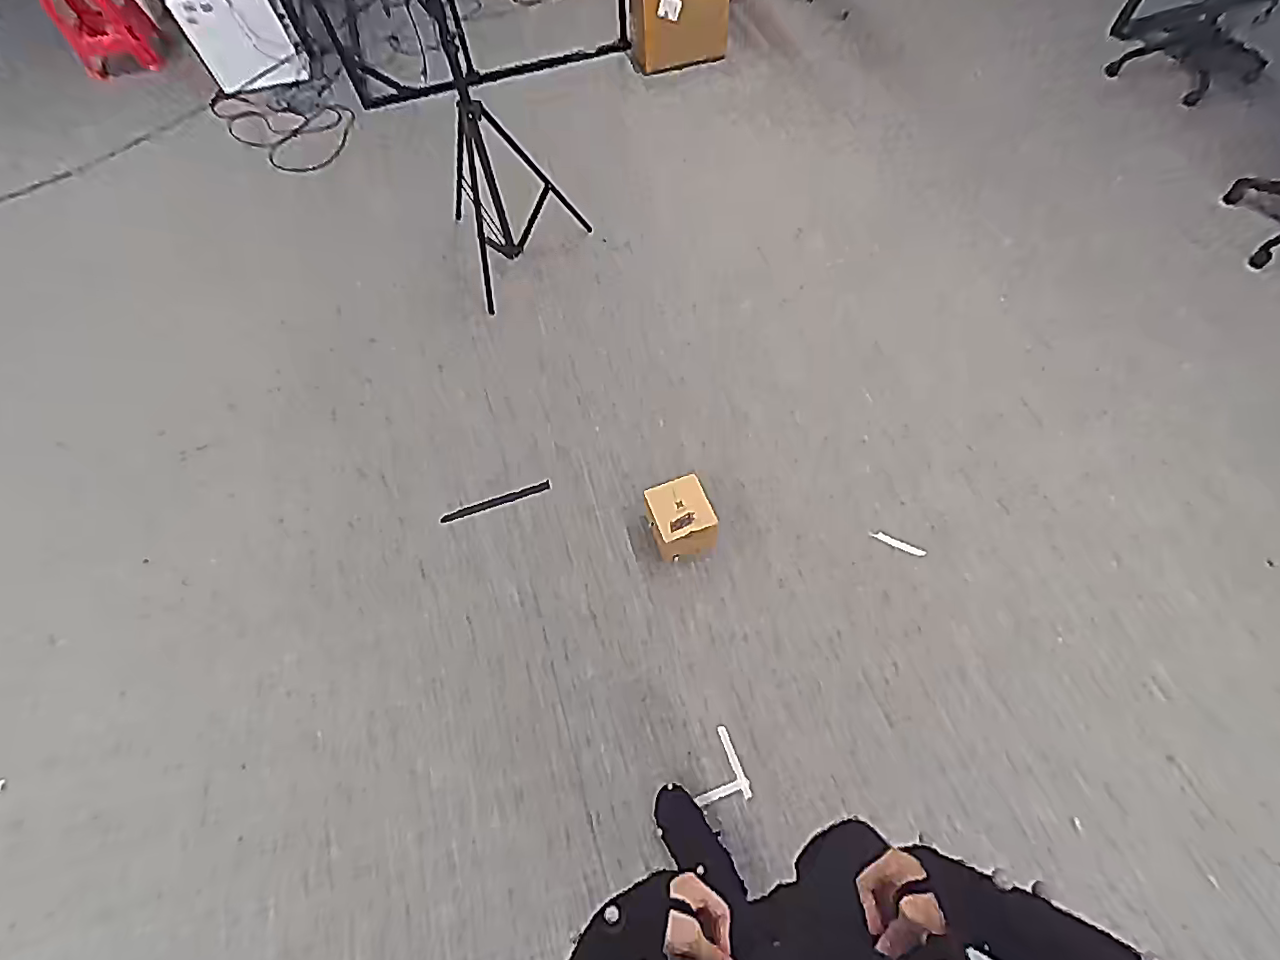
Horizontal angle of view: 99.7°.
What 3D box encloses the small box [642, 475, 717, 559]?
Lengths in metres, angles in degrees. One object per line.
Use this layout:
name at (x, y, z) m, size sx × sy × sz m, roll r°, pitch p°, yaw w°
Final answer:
small box at (0.115, 0.117, 1.595) m, size 0.168 × 0.176 × 0.179 m, roll -20°, pitch 63°, yaw -8°
